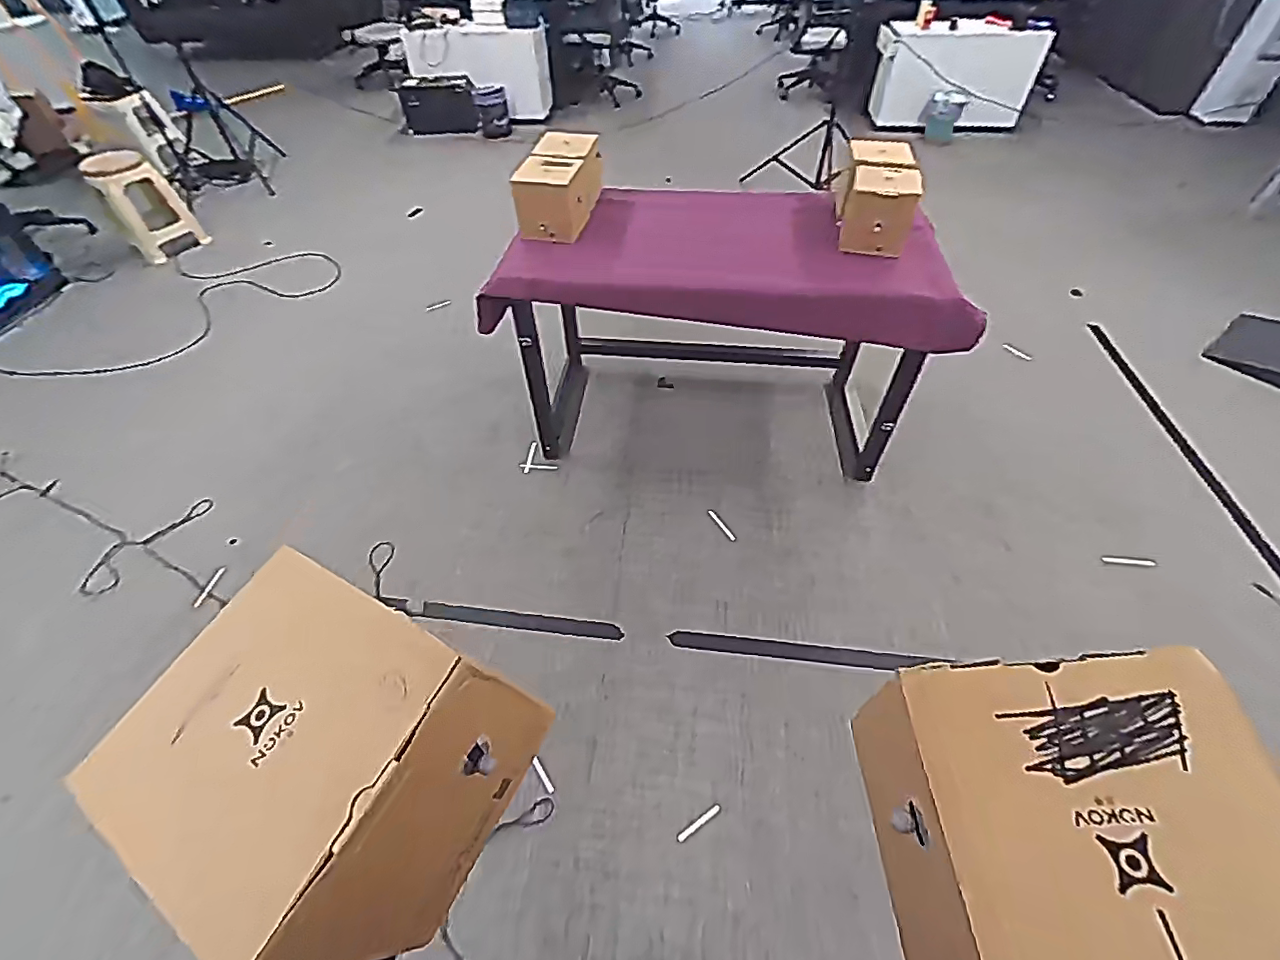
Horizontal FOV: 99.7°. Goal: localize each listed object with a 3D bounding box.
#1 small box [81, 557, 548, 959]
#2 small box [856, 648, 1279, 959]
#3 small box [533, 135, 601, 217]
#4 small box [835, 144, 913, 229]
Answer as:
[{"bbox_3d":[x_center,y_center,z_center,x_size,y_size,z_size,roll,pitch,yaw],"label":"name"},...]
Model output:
[{"bbox_3d":[-0.191,0.184,0.370,0.179,0.176,0.168,18,61,25],"label":"small box"},{"bbox_3d":[0.247,0.219,0.332,0.168,0.176,0.179,-7,56,6],"label":"small box"},{"bbox_3d":[-0.222,-0.952,1.694,0.168,0.176,0.179,8,51,8],"label":"small box"},{"bbox_3d":[0.691,-0.877,1.616,0.168,0.176,0.179,8,49,7],"label":"small box"}]
